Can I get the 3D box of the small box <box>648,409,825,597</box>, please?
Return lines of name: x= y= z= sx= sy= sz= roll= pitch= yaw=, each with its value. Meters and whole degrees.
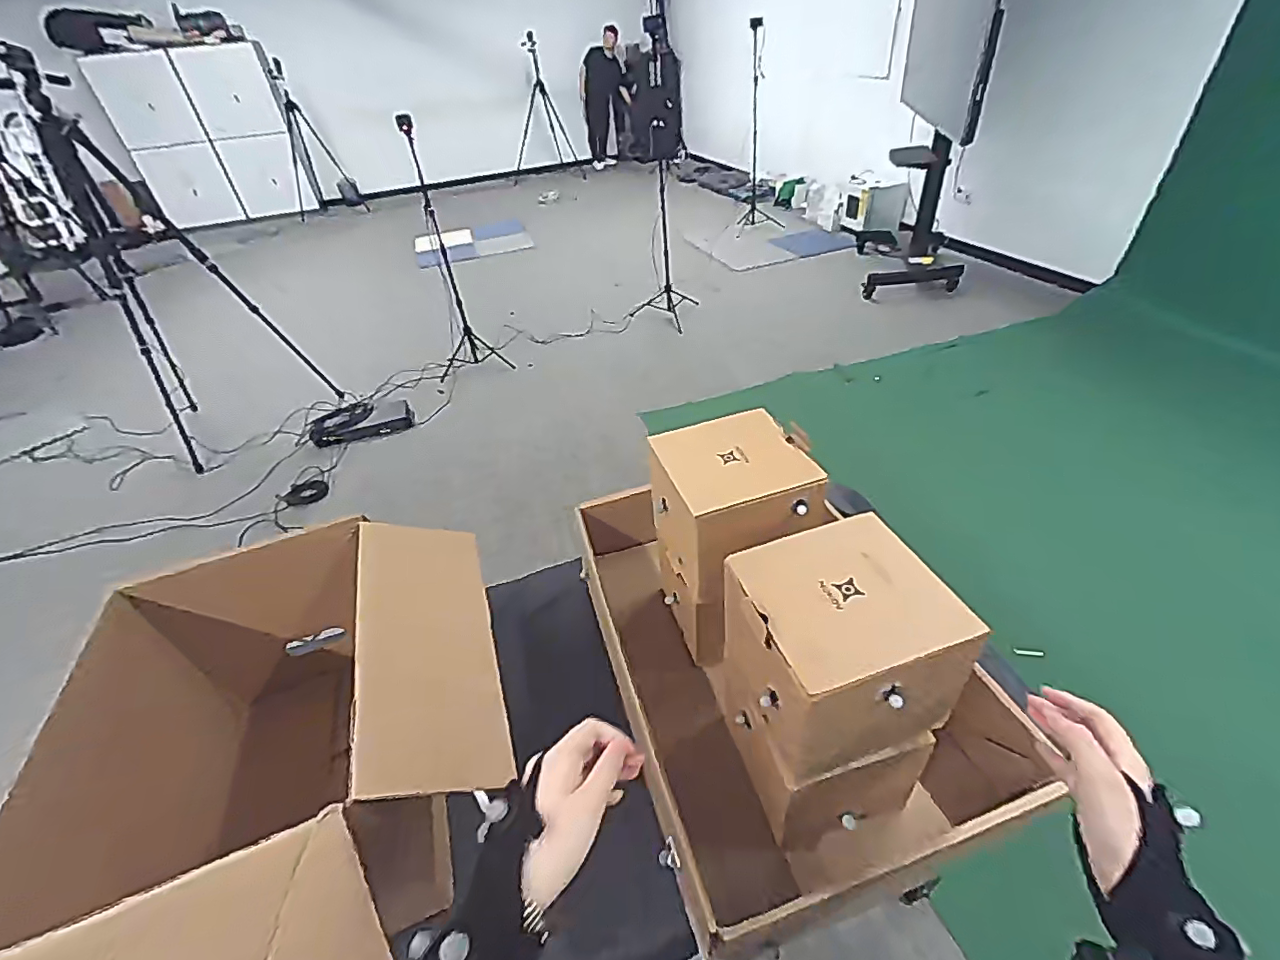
small box: x=0.122 y=0.032 z=0.732 sx=0.179 sy=0.176 sz=0.168 roll=-15 pitch=42 yaw=-11

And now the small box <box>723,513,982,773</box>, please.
small box: x=0.199 y=0.167 z=0.557 sx=0.179 sy=0.176 sz=0.168 roll=-15 pitch=40 yaw=-10
